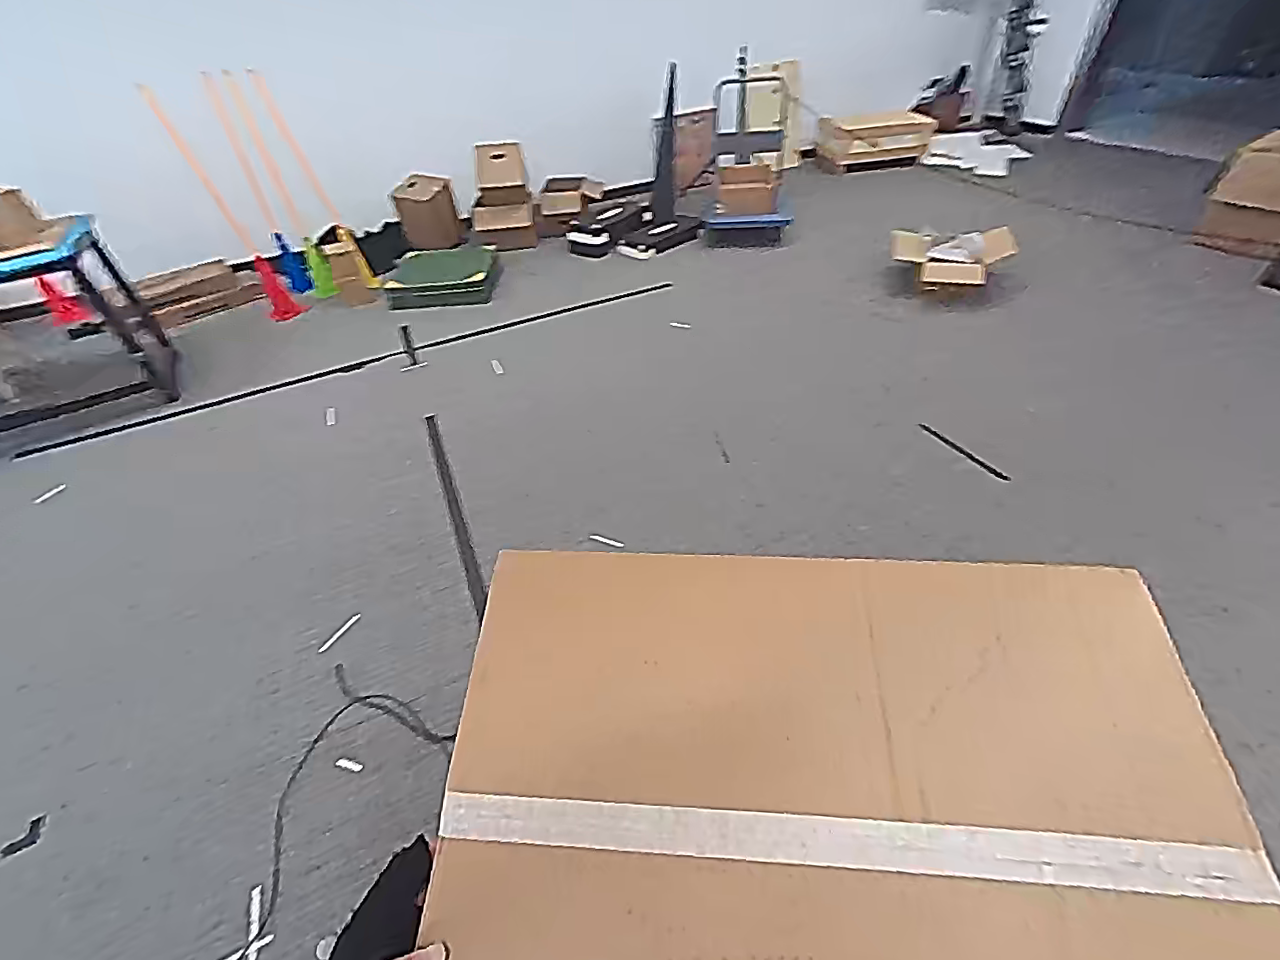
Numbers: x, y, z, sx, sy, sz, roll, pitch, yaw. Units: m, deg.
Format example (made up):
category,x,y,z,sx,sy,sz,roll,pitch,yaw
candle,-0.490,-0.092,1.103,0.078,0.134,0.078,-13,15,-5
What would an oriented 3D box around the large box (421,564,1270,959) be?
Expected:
category,x,y,z,sx,sy,sz,roll,pitch,yaw
large box,0.100,0.267,0.410,0.408,0.320,0.320,0,59,5
